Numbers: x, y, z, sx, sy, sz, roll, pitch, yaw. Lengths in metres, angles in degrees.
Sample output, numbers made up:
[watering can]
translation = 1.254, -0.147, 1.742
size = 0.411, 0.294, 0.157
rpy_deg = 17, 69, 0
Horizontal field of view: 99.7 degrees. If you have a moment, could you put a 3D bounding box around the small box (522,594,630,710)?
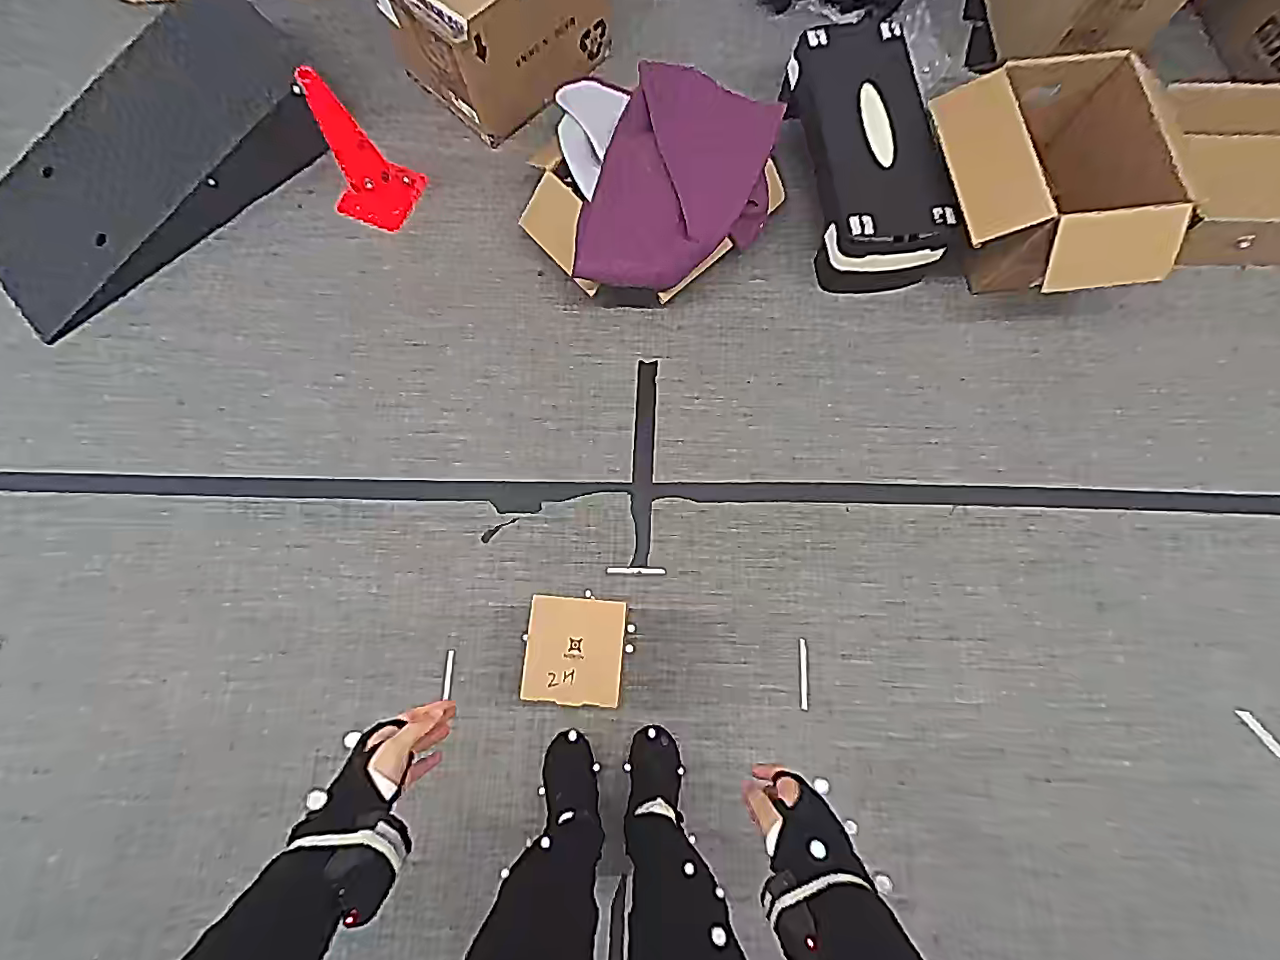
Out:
[small box]
translation = -0.108, 0.307, 0.990
size = 0.168, 0.176, 0.179
rpy_deg = 5, 77, 1
